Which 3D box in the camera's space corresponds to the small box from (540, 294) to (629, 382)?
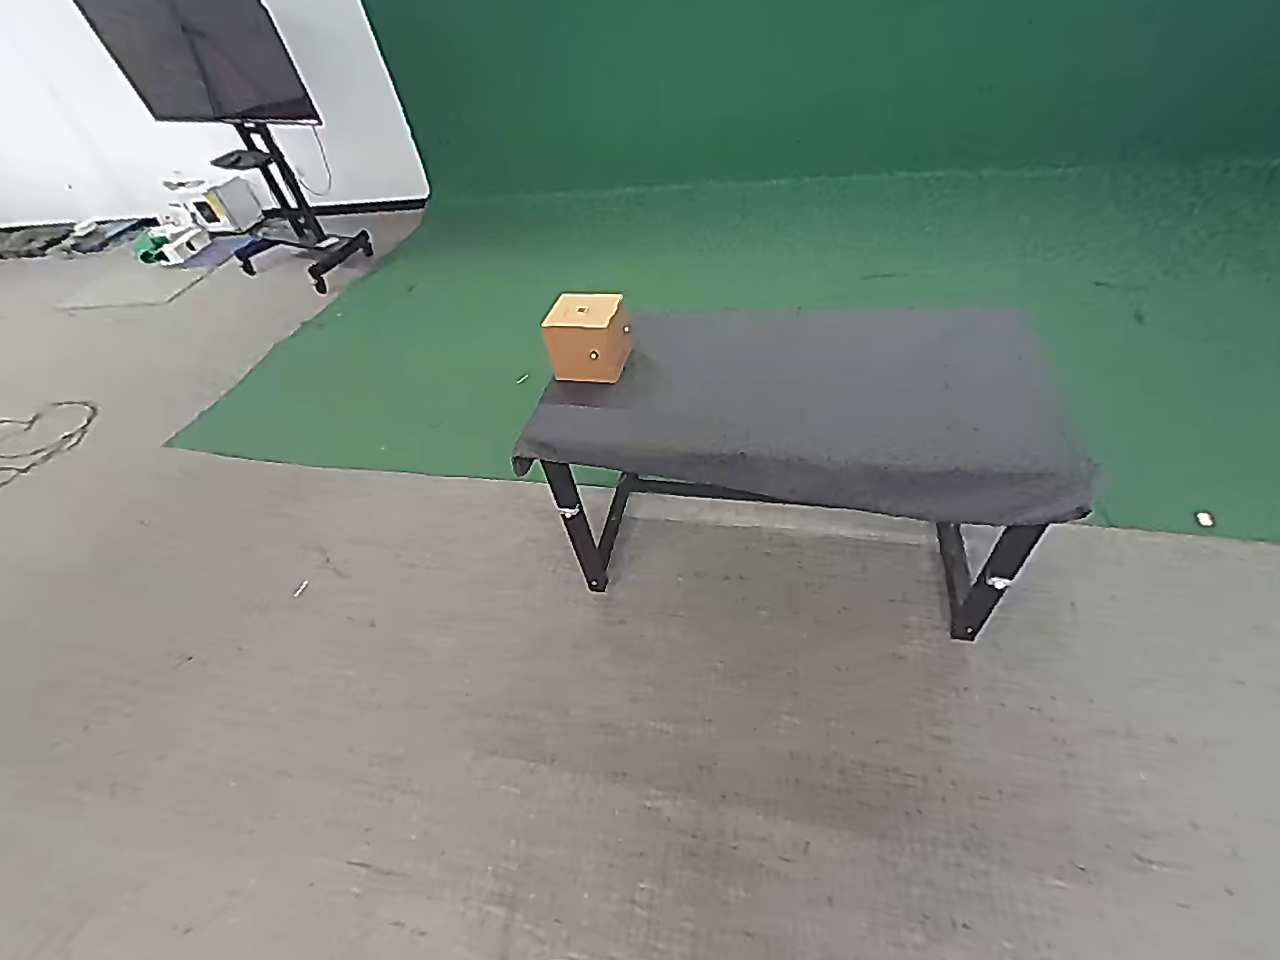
[{"bbox_3d":[-0.136,-0.374,1.432,0.179,0.176,0.168,7,46,16],"label":"small box"}]
